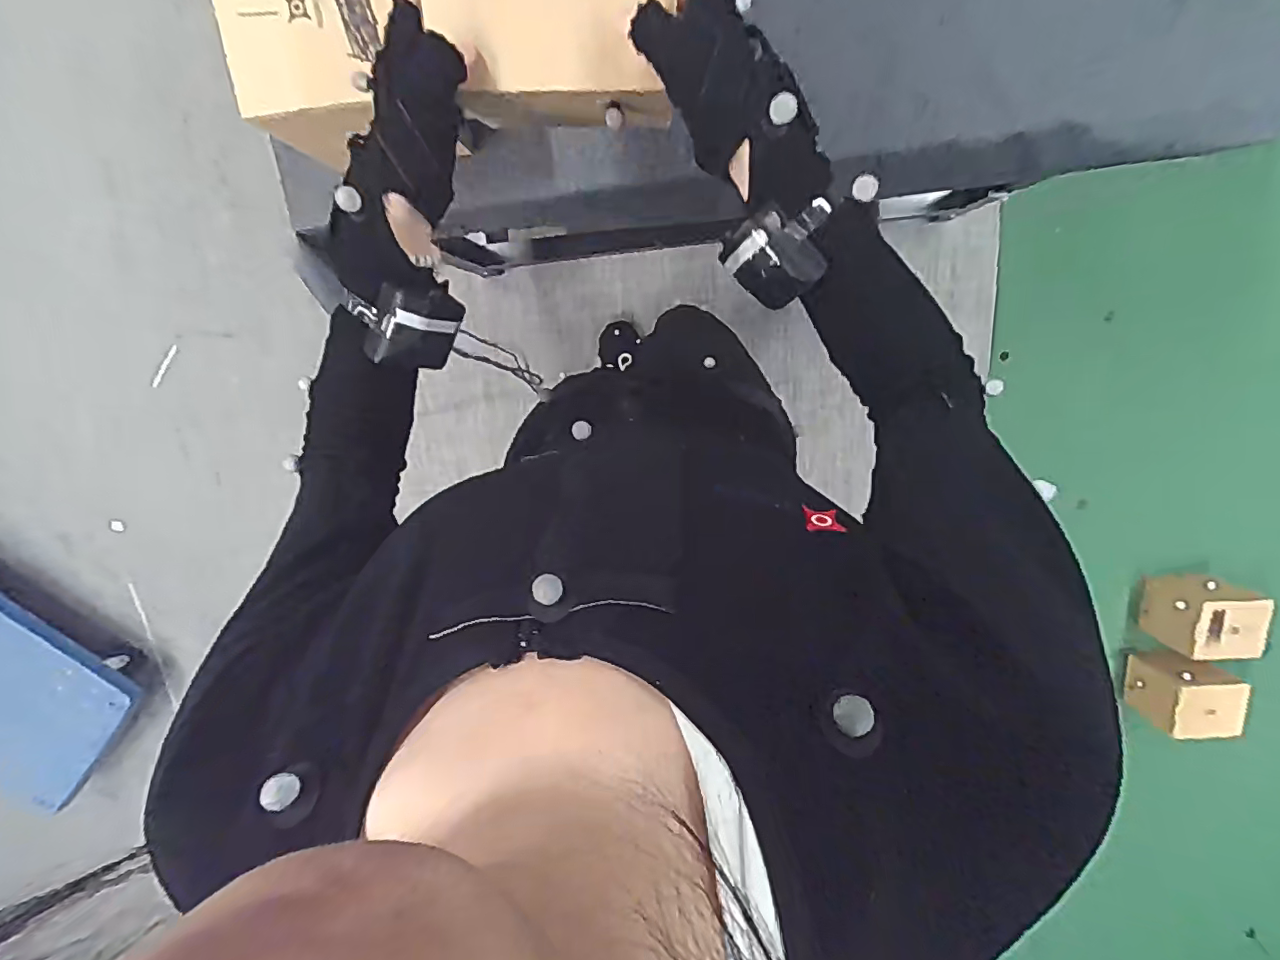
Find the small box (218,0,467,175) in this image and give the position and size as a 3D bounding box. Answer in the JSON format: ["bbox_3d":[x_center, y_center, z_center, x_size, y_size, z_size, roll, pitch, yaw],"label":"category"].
[{"bbox_3d":[-0.299,-0.446,0.577,0.179,0.176,0.168,-5,103,4],"label":"small box"}]

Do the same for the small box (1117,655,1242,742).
[{"bbox_3d":[1.516,0.612,1.530,0.179,0.176,0.168,-5,104,4],"label":"small box"}]
